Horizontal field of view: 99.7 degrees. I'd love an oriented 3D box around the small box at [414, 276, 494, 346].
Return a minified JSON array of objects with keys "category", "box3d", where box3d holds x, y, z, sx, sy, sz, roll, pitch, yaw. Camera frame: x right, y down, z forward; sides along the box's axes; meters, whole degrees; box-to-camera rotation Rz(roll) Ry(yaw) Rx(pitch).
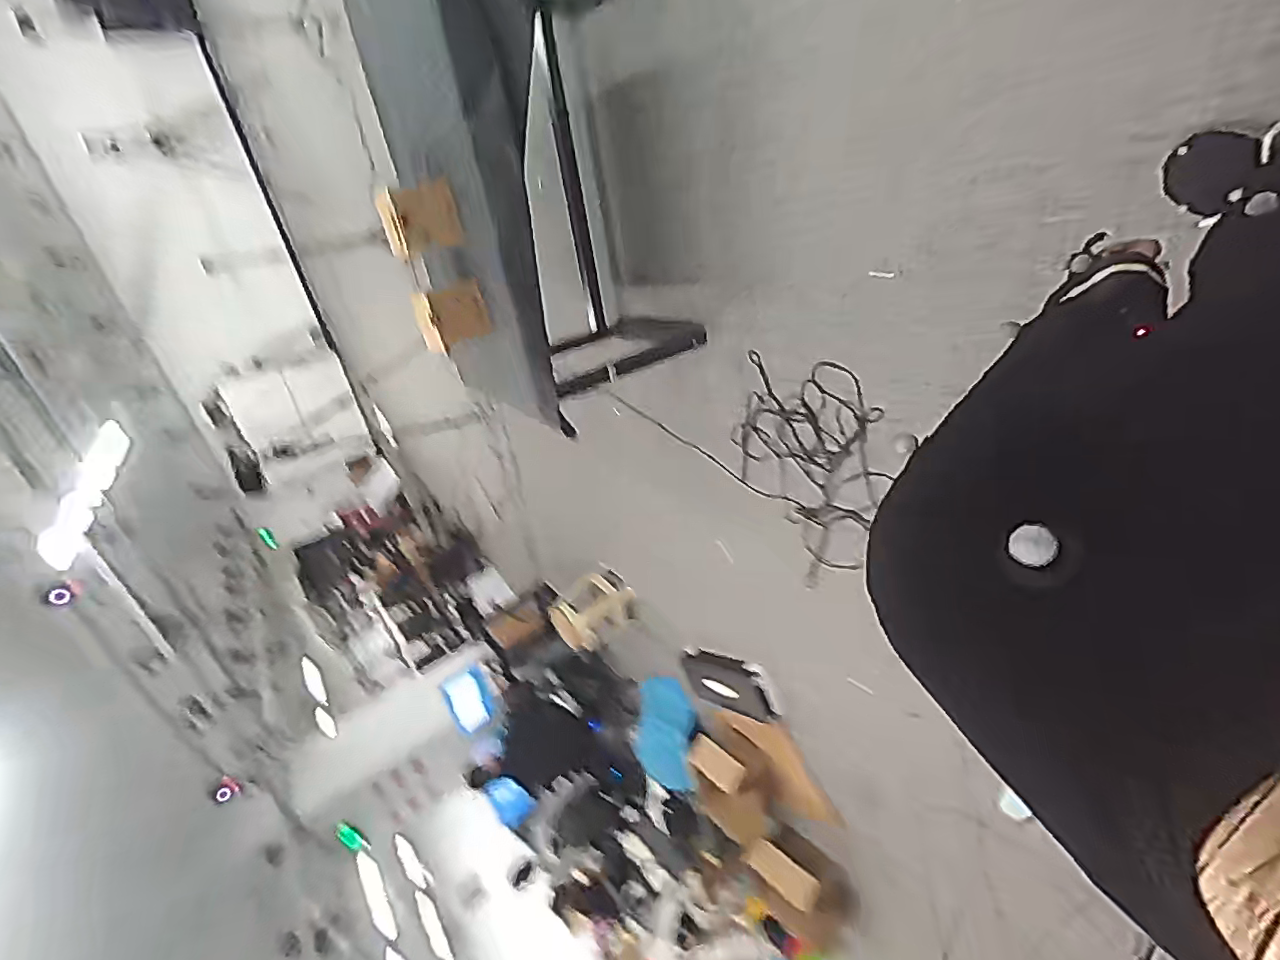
[{"category":"small box","box3d":[-0.568,-0.521,1.669,0.179,0.176,0.168,13,122,56]}]
